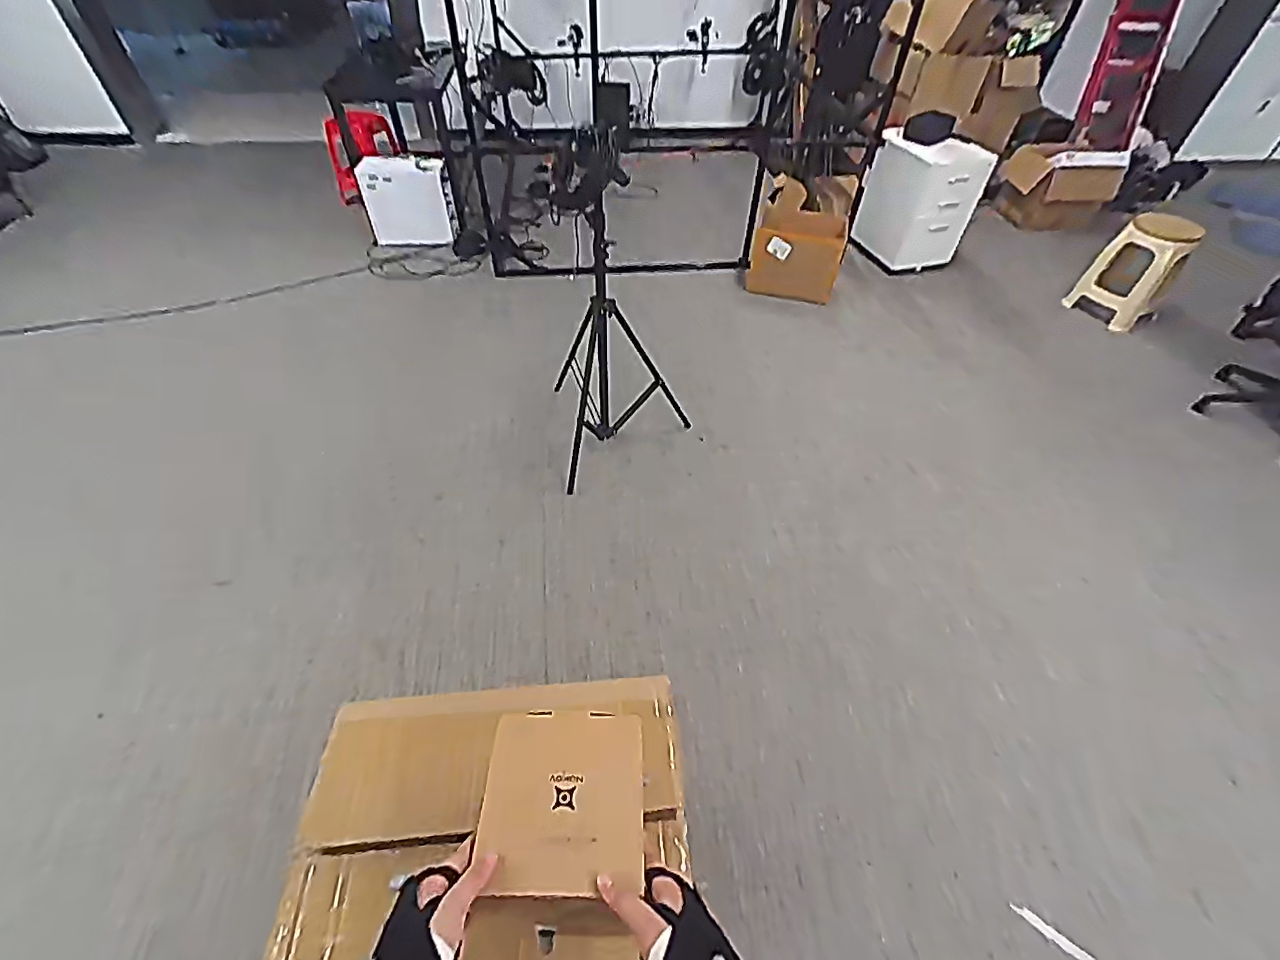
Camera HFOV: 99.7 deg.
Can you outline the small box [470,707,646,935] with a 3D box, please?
[{"bbox_3d":[-0.083,0.382,0.610,0.168,0.176,0.179,2,40,-4],"label":"small box"}]
